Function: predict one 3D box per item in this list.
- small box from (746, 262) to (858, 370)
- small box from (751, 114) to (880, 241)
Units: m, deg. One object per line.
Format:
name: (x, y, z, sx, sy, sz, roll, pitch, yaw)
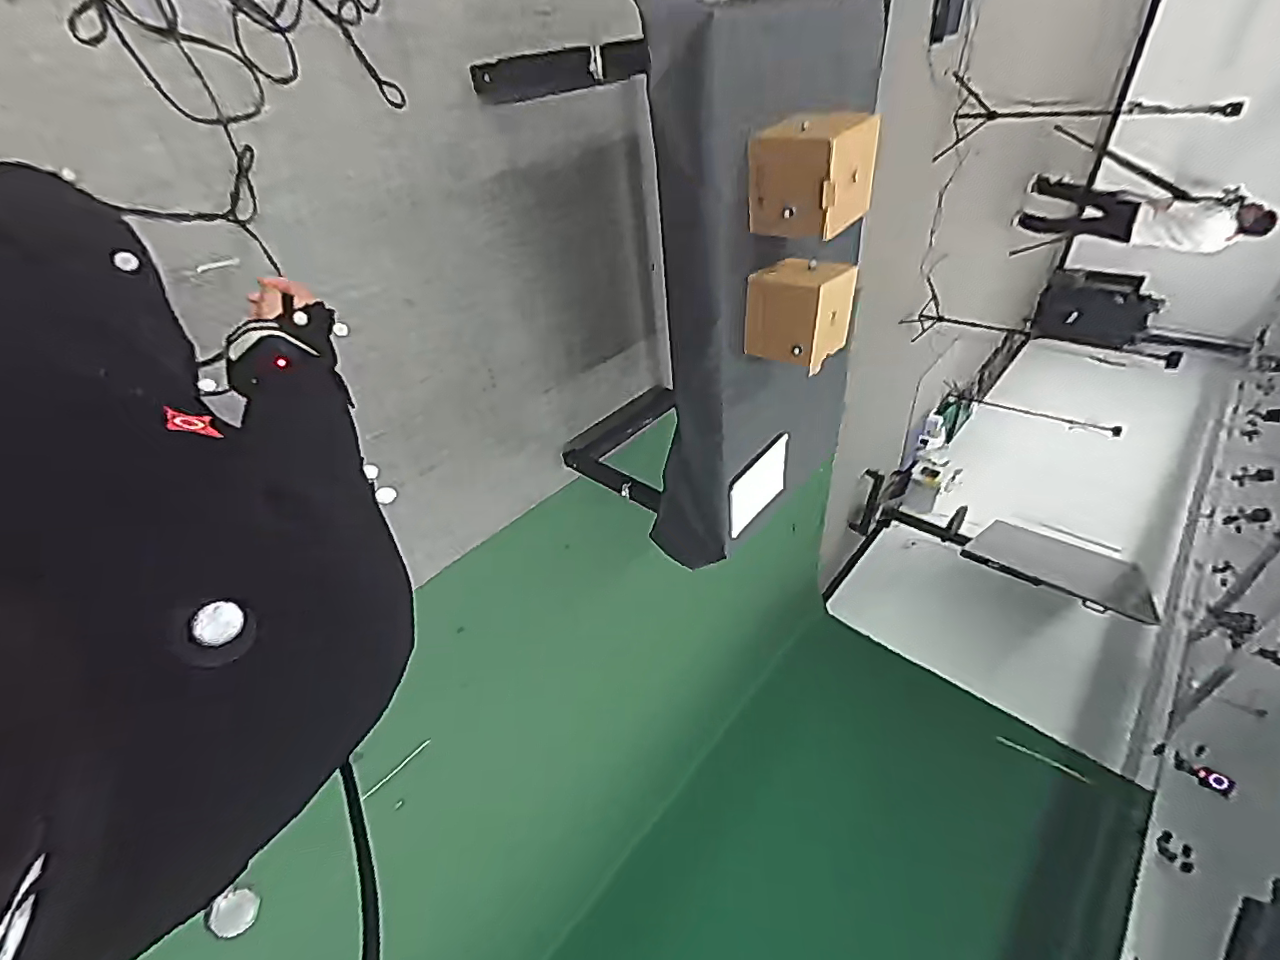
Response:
small box: (0.344, -0.363, 1.171, 0.168, 0.176, 0.179, -35, 136, -35)
small box: (0.321, -0.568, 1.013, 0.179, 0.176, 0.168, -42, 141, -29)
